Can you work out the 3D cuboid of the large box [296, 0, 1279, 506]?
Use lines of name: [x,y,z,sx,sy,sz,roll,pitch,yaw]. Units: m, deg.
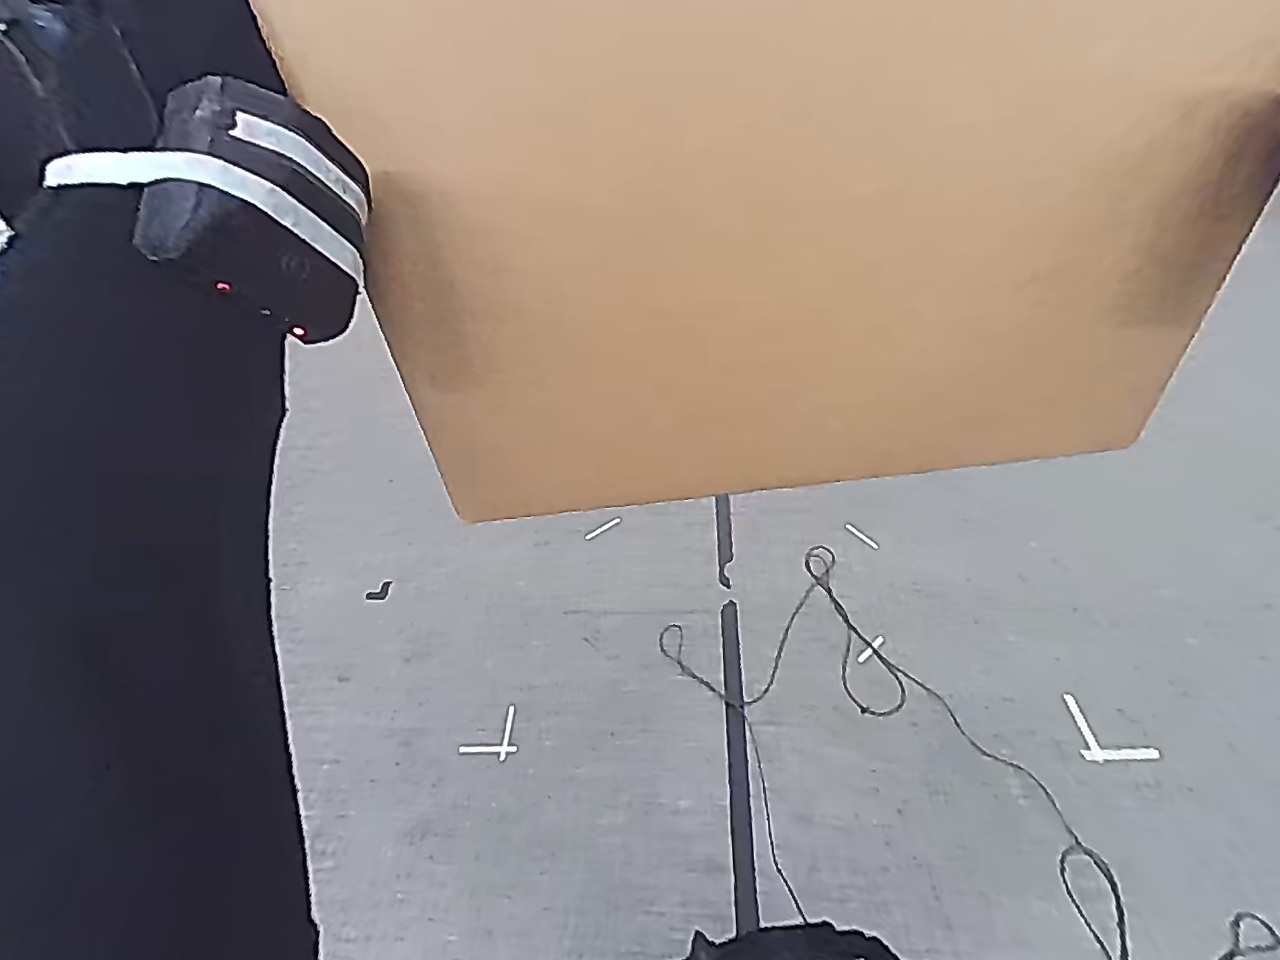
large box: [0.067,-0.210,0.362,0.408,0.320,0.320,-6,37,0]
